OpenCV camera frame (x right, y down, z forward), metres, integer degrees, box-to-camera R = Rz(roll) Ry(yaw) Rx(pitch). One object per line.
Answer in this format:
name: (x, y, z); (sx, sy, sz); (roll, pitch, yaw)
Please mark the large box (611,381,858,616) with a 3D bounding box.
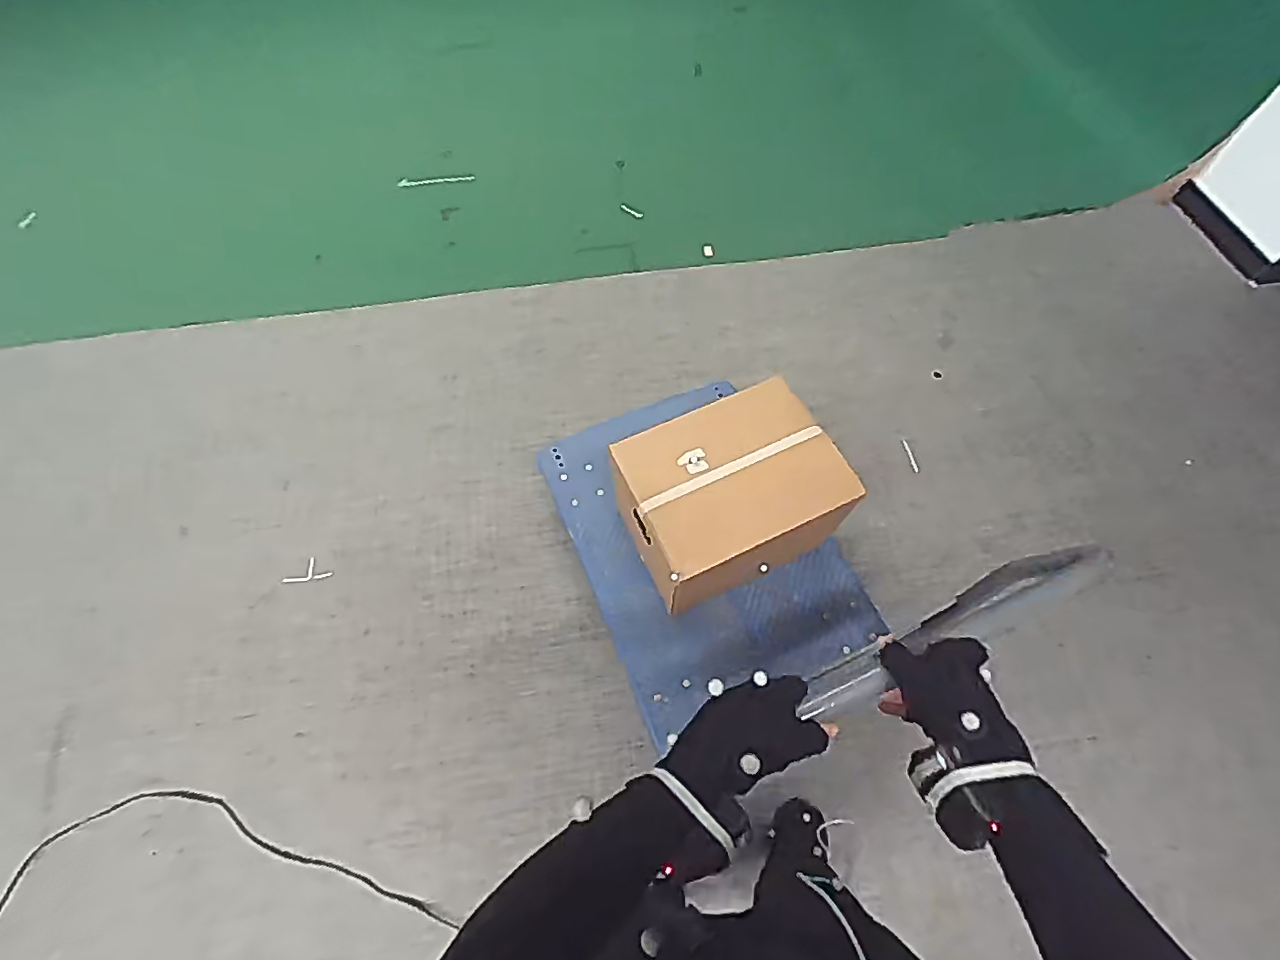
large box: (0.189, 0.052, 1.204); (0.408, 0.320, 0.320); (-24, 64, -9)
